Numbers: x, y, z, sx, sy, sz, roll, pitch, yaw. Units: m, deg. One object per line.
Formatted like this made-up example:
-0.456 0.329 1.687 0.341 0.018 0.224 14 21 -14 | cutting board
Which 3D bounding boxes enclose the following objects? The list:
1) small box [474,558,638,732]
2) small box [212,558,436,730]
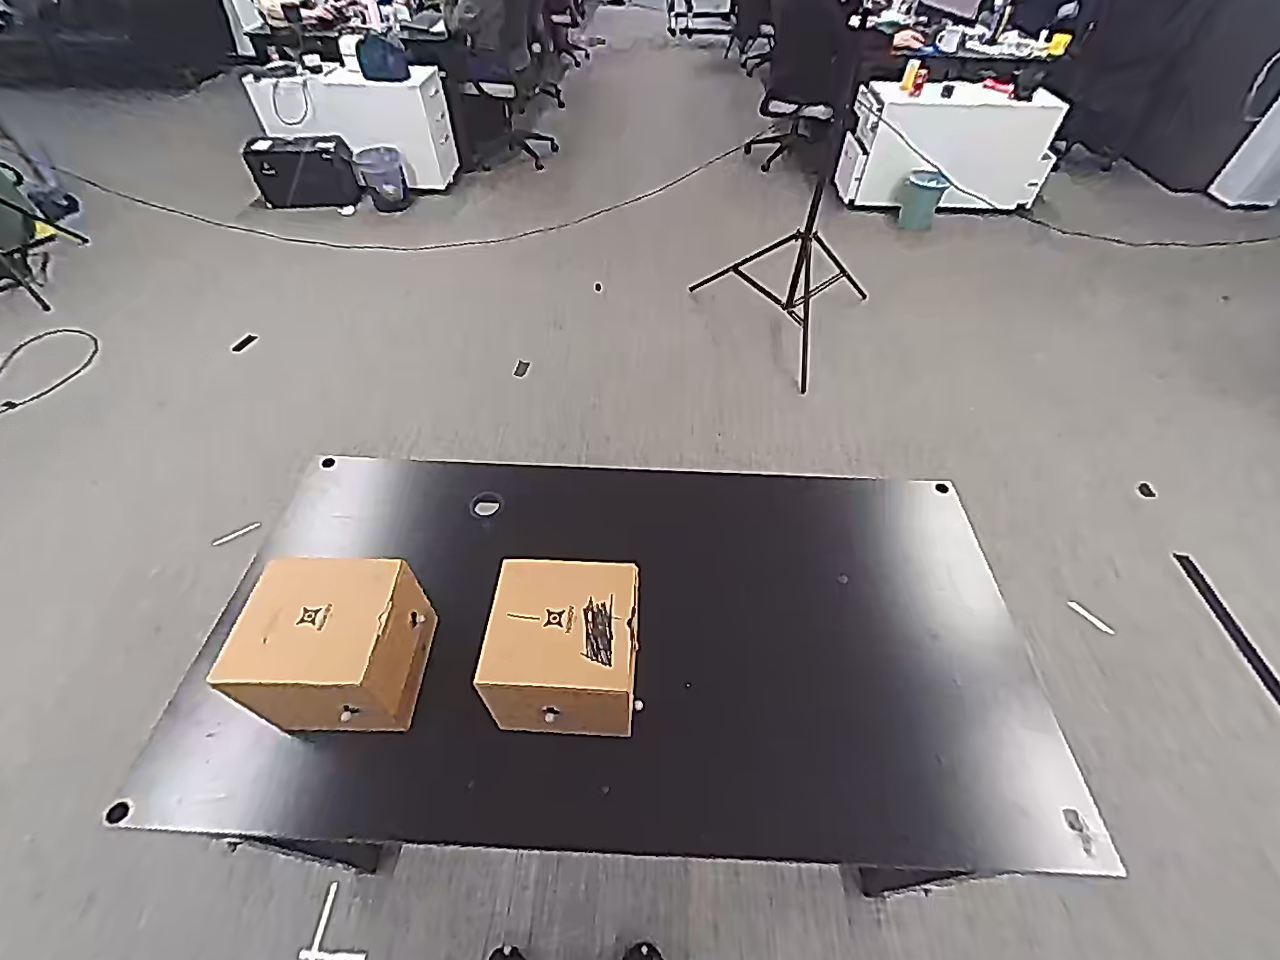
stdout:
-0.095 0.221 0.712 0.179 0.176 0.168 2 49 2 | small box
-0.389 0.218 0.711 0.179 0.176 0.168 -1 49 0 | small box
